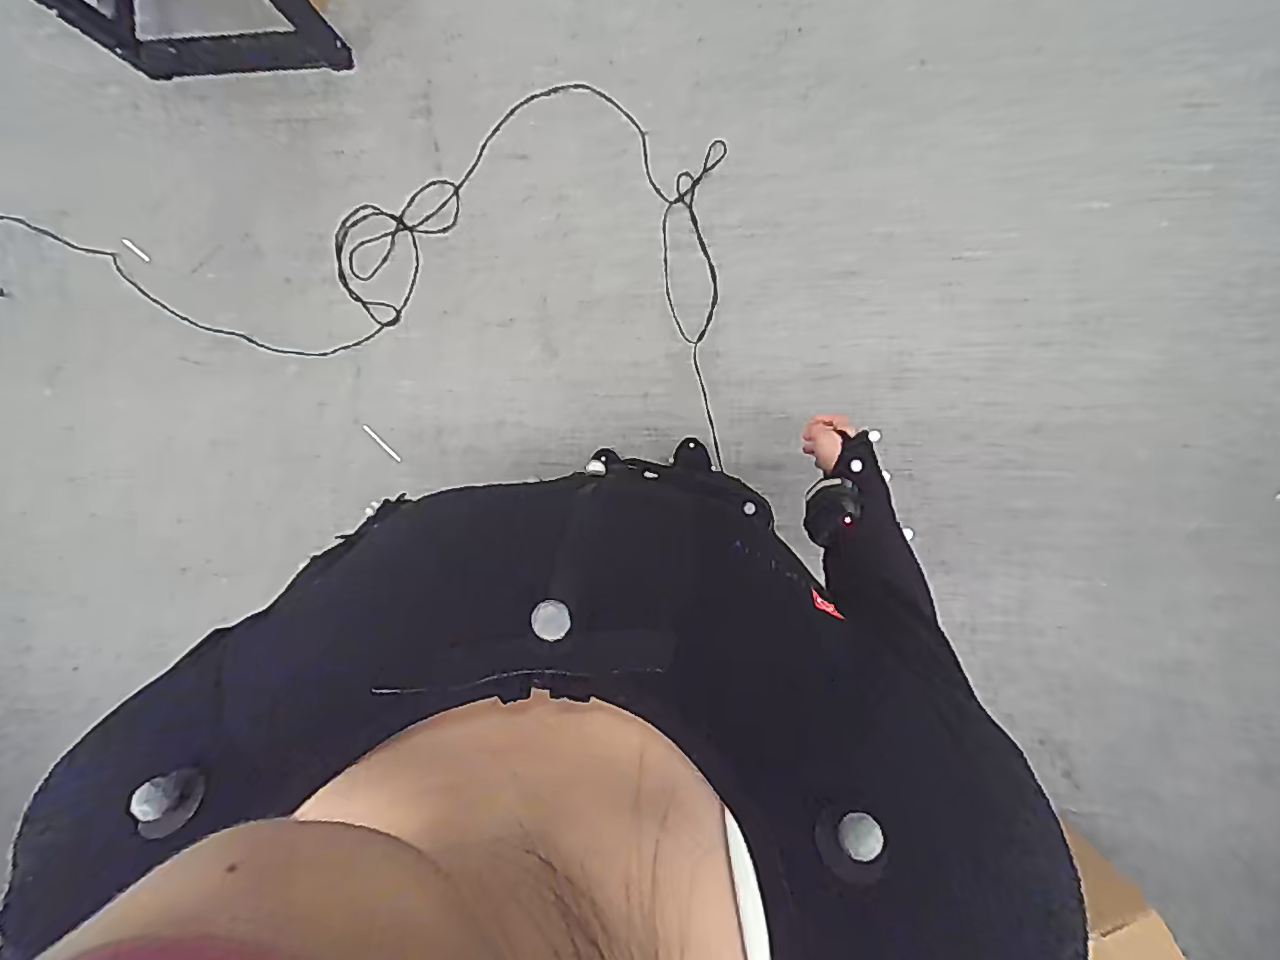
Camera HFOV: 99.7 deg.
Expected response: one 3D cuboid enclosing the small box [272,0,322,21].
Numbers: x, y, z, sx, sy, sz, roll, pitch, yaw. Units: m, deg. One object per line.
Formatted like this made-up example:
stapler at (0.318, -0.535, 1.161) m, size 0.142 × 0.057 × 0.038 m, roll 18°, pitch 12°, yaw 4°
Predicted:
small box at (-0.904, -1.310, 1.348) m, size 0.179 × 0.176 × 0.168 m, roll 34°, pitch 97°, yaw 1°
